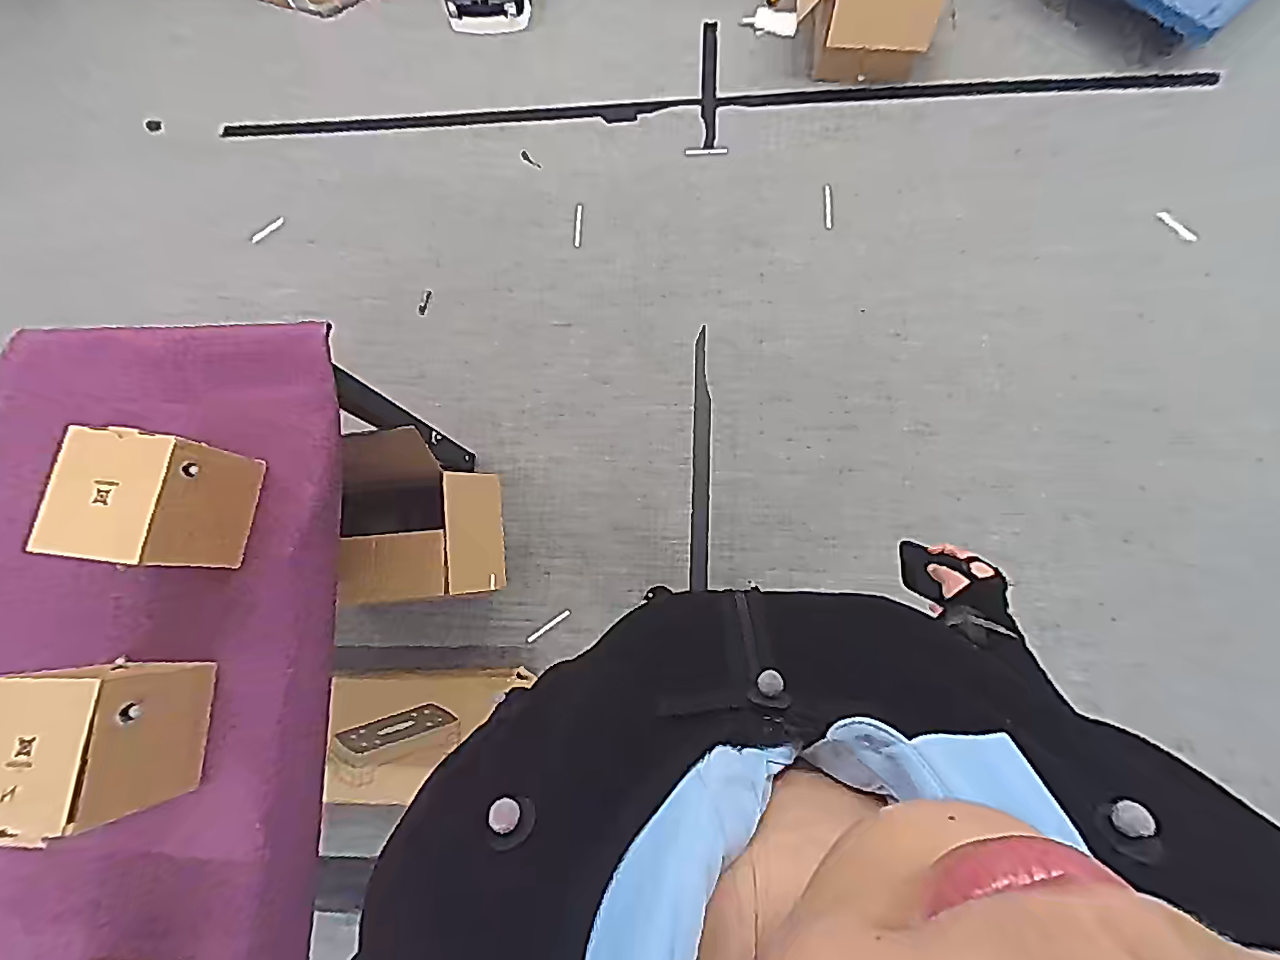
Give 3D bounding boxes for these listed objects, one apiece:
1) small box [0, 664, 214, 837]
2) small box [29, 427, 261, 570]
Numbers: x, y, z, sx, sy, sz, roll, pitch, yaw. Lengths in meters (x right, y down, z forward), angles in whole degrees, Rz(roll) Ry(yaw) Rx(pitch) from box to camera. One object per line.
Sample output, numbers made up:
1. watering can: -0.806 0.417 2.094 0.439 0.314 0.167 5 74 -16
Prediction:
1. small box: -0.723 0.346 0.726 0.168 0.176 0.179 -2 78 7
2. small box: -0.702 0.035 0.792 0.168 0.176 0.179 5 78 6
